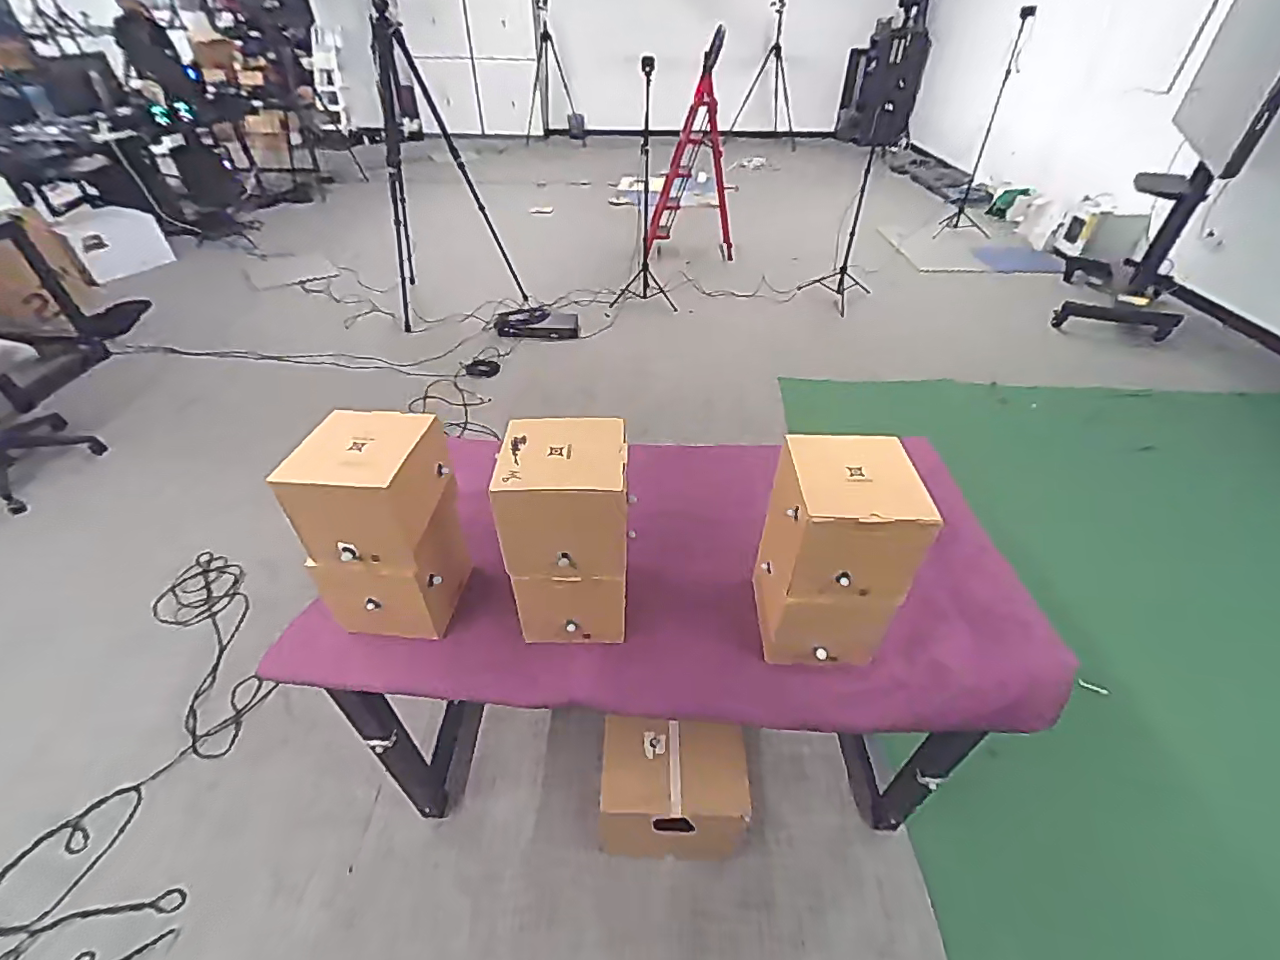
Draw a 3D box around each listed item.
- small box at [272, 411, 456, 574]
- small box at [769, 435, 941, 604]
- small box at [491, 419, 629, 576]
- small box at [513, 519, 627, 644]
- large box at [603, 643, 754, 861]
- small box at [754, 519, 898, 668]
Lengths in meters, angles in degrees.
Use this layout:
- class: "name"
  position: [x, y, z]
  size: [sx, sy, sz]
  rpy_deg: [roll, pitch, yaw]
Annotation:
- class: "small box"
  position: [-0.390, 0.016, 0.808]
  size: [0.168, 0.176, 0.179]
  rpy_deg: [2, 40, 3]
- class: "small box"
  position: [0.289, 0.055, 0.778]
  size: [0.168, 0.176, 0.179]
  rpy_deg: [1, 41, 1]
- class: "small box"
  position: [-0.106, 0.027, 0.799]
  size: [0.179, 0.176, 0.168]
  rpy_deg: [1, 39, -1]
- class: "small box"
  position: [-0.106, 0.151, 0.906]
  size: [0.168, 0.176, 0.179]
  rpy_deg: [0, 40, 0]
- class: "large box"
  position: [0.078, 0.661, 1.334]
  size: [0.320, 0.320, 0.408]
  rpy_deg: [0, 42, 1]
- class: "small box"
  position: [0.287, 0.180, 0.881]
  size: [0.168, 0.176, 0.179]
  rpy_deg: [1, 41, 1]
